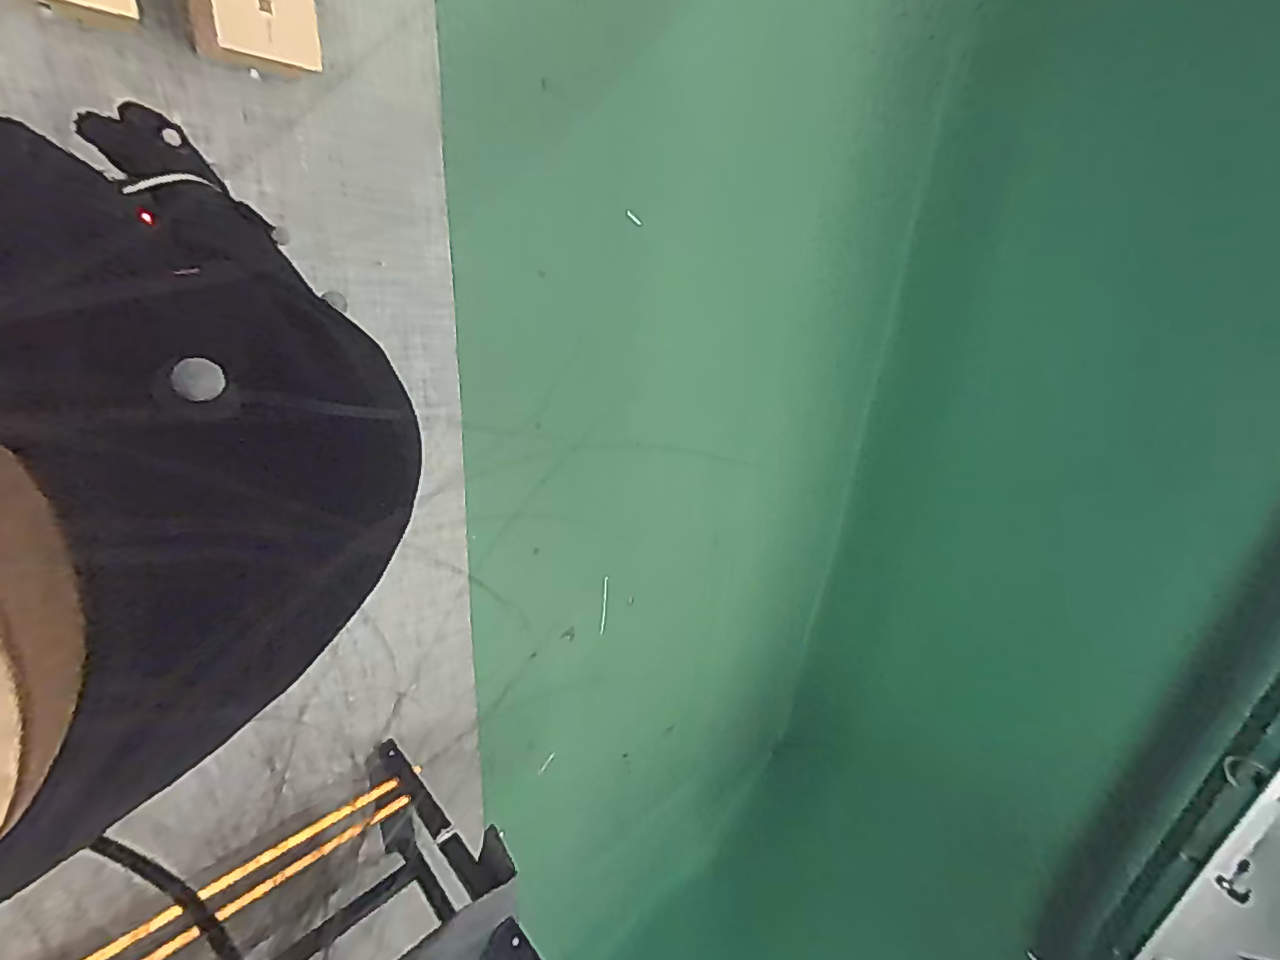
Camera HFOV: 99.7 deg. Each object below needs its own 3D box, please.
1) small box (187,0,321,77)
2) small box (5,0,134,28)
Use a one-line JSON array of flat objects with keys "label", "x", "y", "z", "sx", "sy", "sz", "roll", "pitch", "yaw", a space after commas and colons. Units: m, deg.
[{"label": "small box", "x": -0.715, "y": -0.872, "z": 0.991, "sx": 0.168, "sy": 0.176, "sz": 0.179, "roll": -19, "pitch": 124, "yaw": -43}, {"label": "small box", "x": -0.898, "y": -0.817, "z": 0.810, "sx": 0.168, "sy": 0.176, "sz": 0.179, "roll": -20, "pitch": 123, "yaw": -43}]
